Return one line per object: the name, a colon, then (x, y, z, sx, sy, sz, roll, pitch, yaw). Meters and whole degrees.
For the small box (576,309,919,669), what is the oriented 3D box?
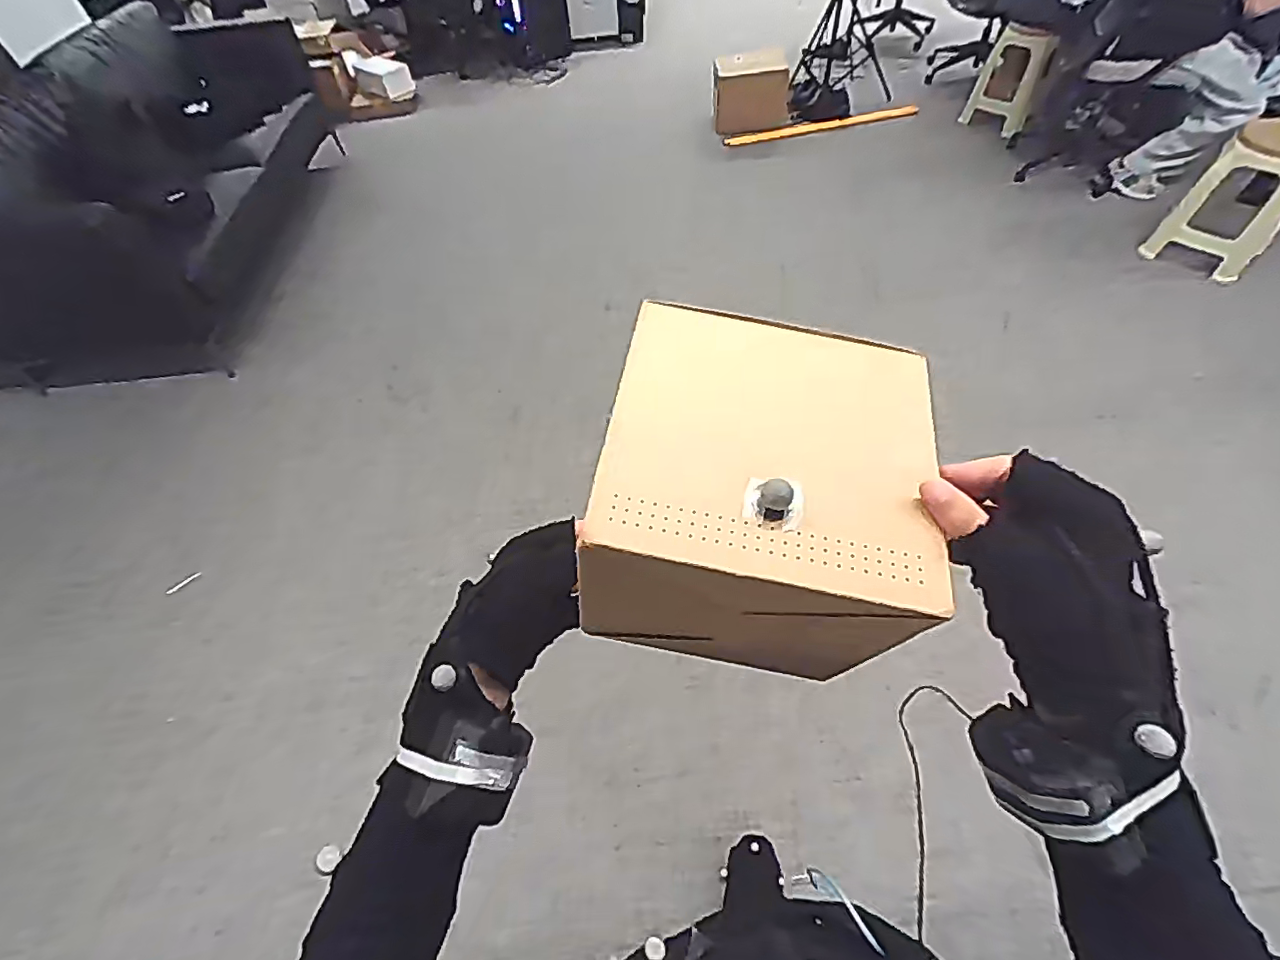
small box: (0.065, 0.017, 0.365, 0.179, 0.168, 0.176, 11, 59, 2)
